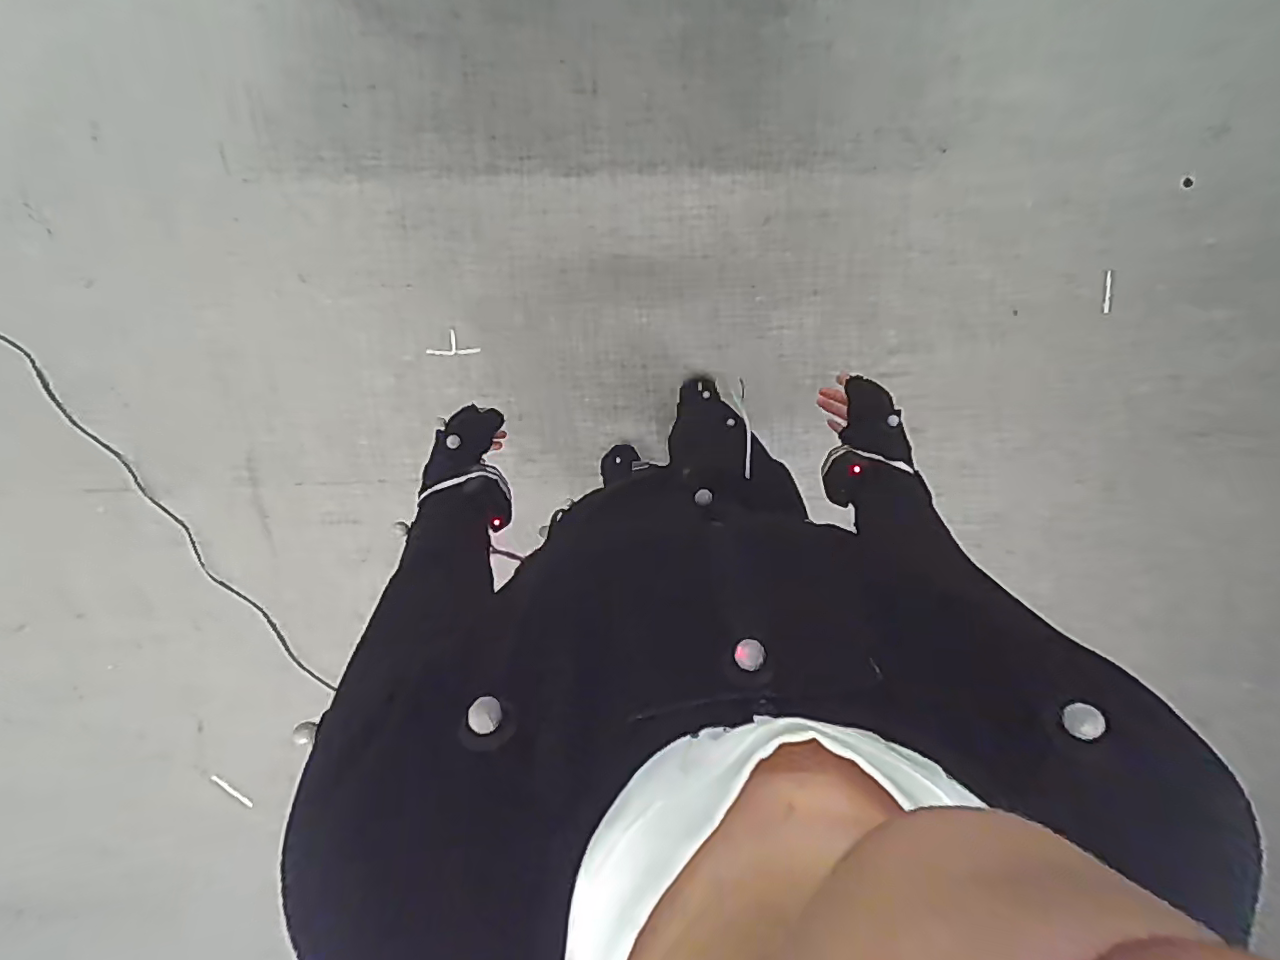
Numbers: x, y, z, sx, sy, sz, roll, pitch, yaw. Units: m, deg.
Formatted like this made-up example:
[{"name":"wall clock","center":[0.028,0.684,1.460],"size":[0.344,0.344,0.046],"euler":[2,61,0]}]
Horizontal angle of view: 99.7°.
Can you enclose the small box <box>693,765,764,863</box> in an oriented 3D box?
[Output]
[{"name":"small box","center":[0.243,0.938,1.523],"size":[0.168,0.176,0.179],"euler":[1,97,-3]}]
